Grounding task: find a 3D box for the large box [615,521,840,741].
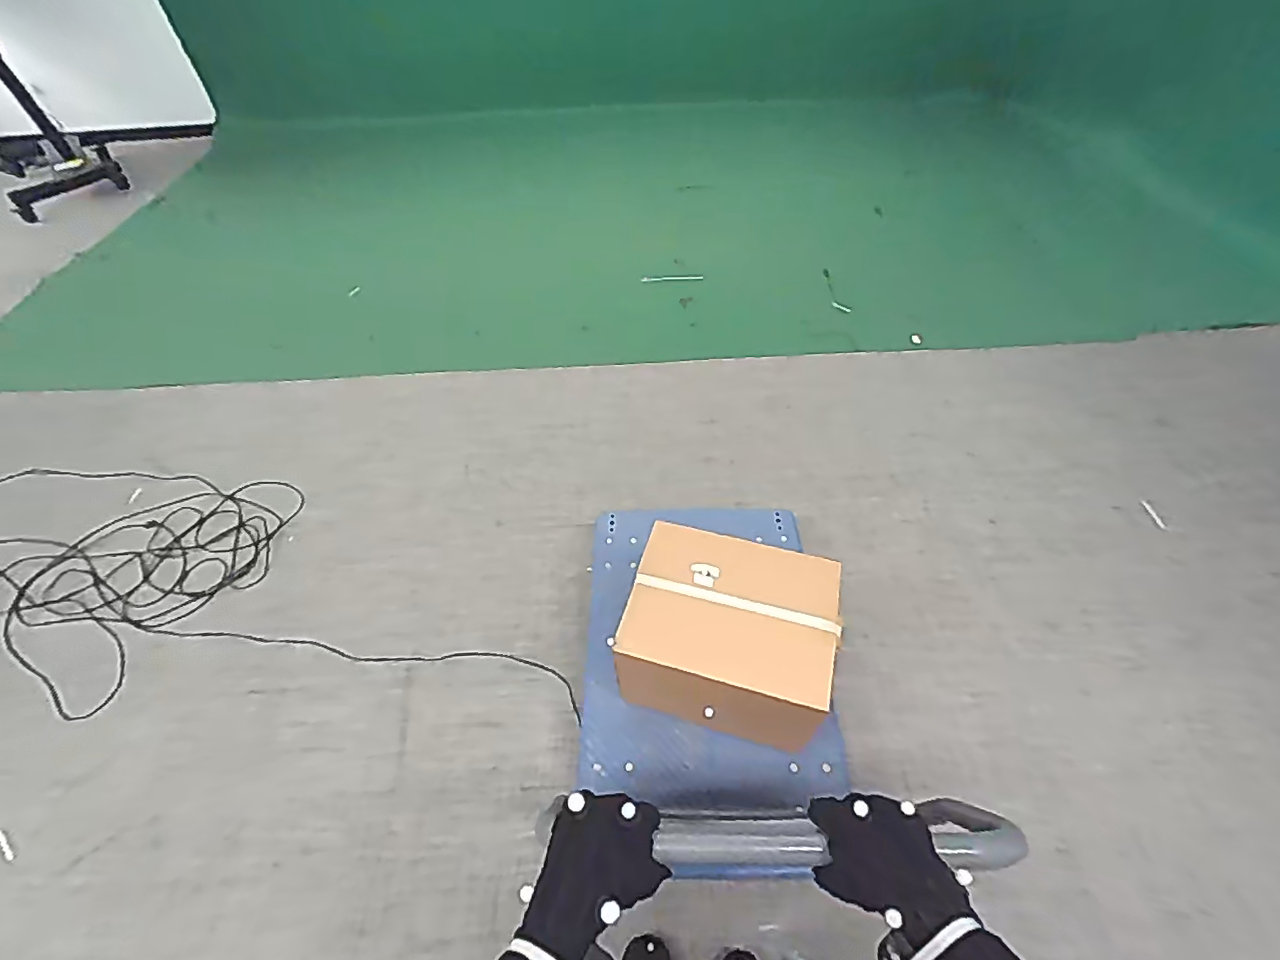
[{"bbox_3d":[0.194,0.332,1.188,0.408,0.320,0.320,11,53,13],"label":"large box"}]
